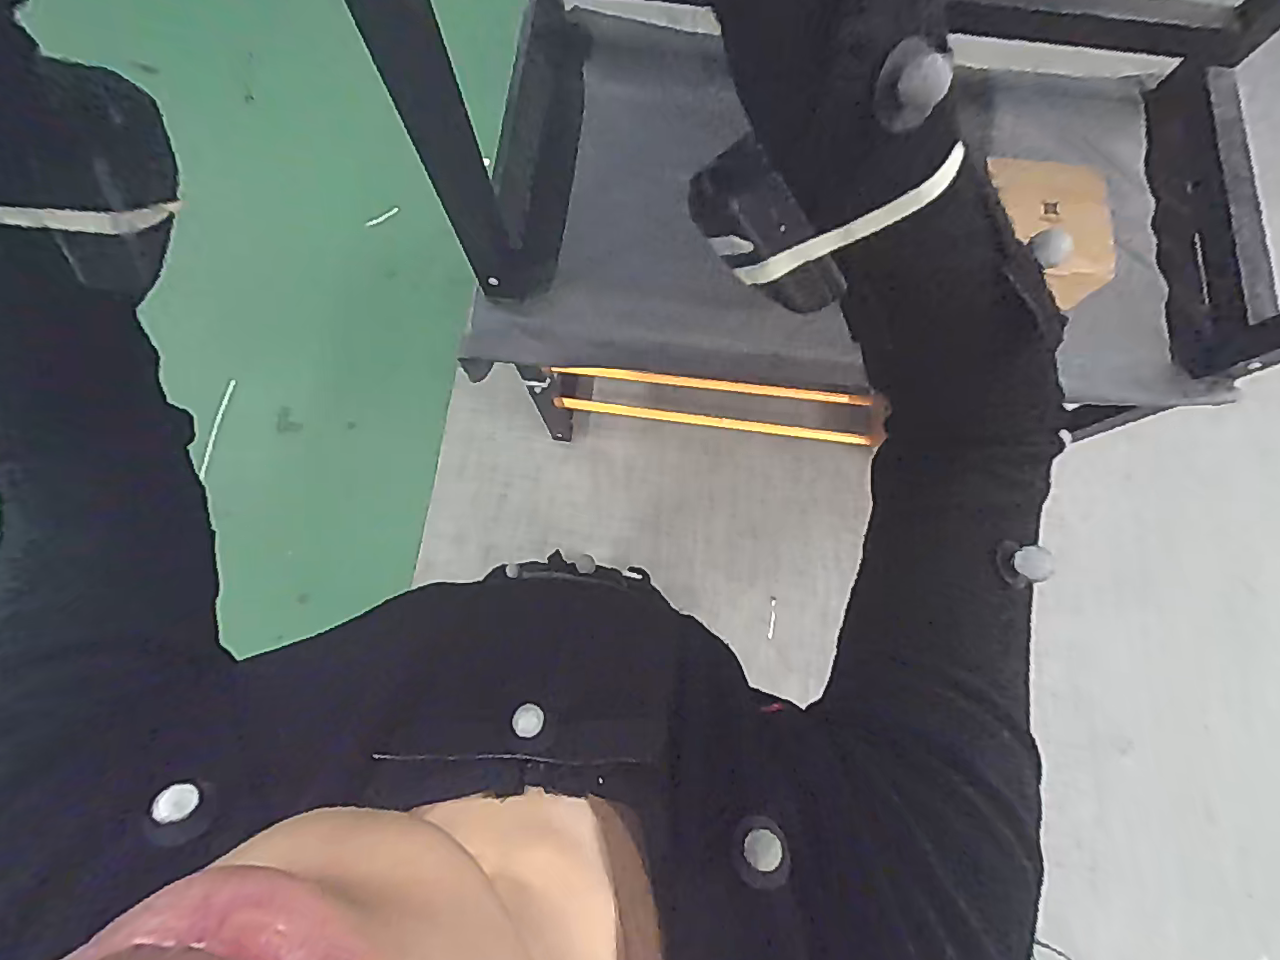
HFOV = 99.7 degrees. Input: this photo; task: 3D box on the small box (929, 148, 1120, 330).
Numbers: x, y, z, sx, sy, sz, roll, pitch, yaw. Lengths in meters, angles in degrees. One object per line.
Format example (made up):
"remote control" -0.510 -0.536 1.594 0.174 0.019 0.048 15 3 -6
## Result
"small box" 0.556 -0.350 0.808 0.168 0.176 0.179 6 76 1
